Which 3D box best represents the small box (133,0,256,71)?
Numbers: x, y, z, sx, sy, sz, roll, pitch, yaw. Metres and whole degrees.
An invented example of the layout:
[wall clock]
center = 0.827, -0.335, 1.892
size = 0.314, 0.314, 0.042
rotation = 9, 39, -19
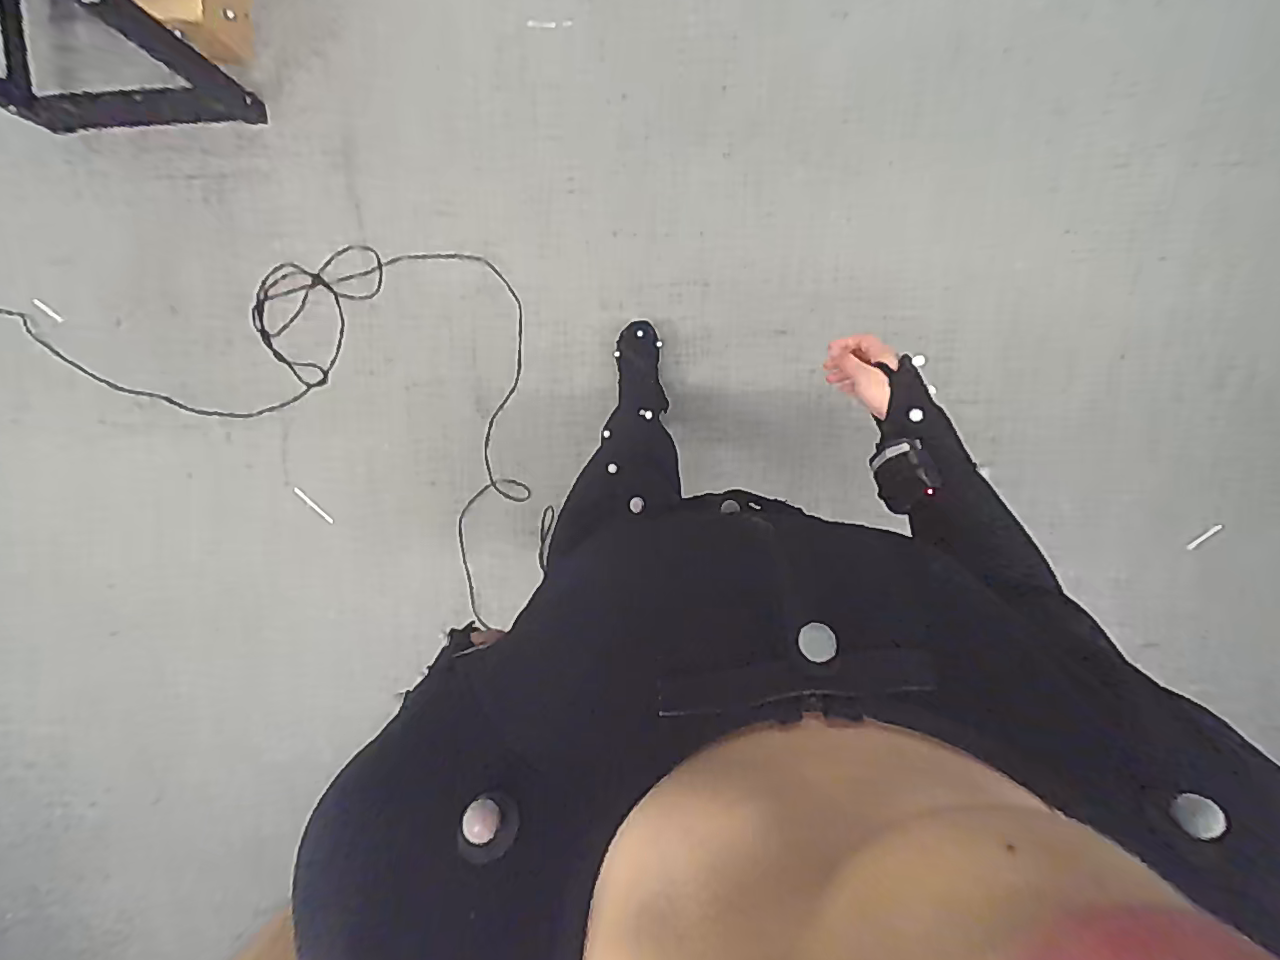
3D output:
[small box]
center = -1.062, -1.123, 1.302
size = 0.179, 0.176, 0.168
rotation = 3, 97, 2
